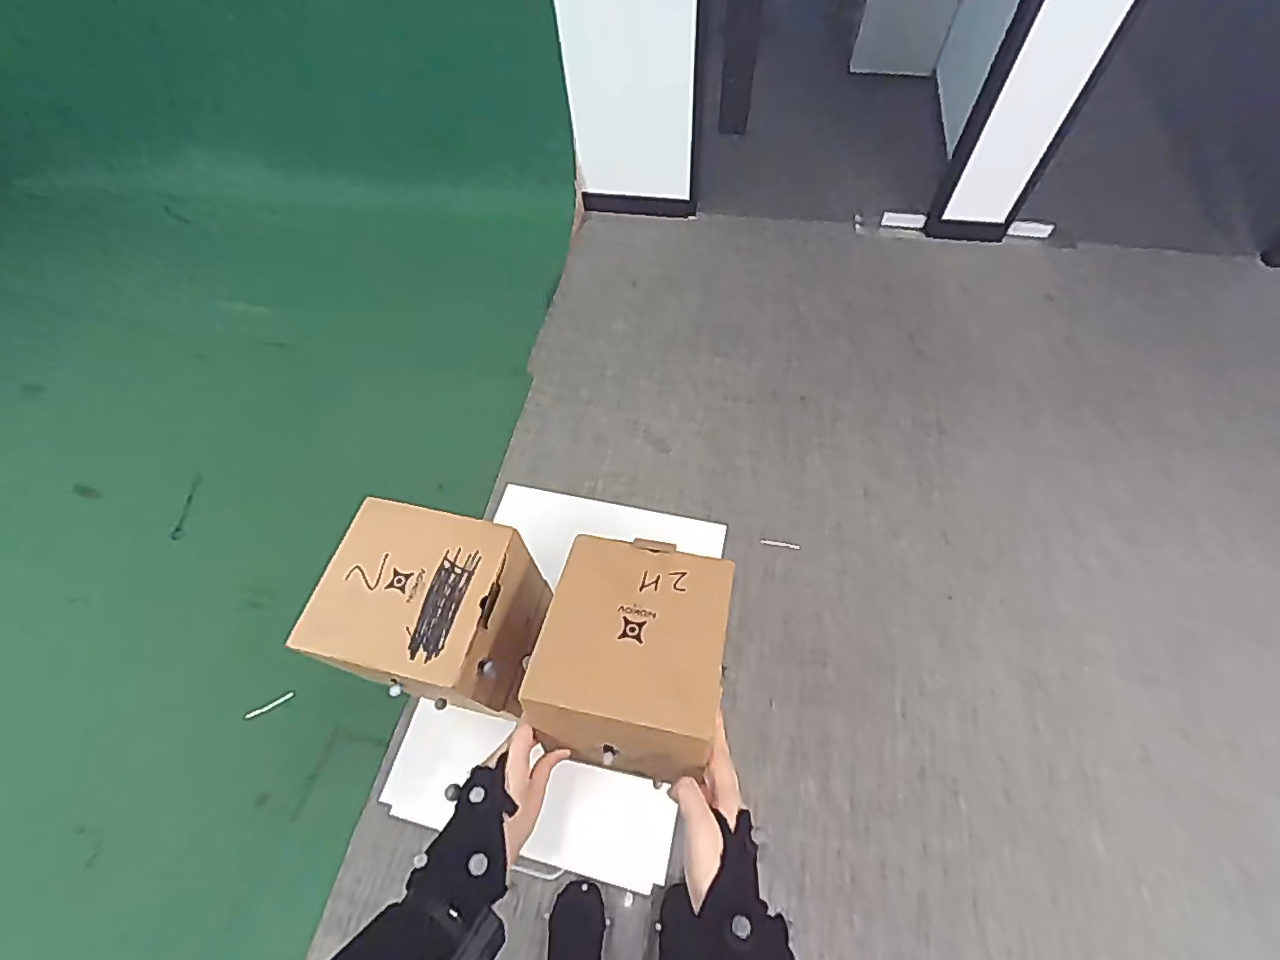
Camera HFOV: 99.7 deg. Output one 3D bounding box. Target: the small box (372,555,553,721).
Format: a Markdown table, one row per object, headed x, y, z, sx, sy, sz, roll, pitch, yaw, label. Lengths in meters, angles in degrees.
| x | y | z | sx | sy | sz | roll | pitch | yaw | label |
| --- | --- | --- | --- | --- | --- | --- | --- | --- | --- |
| -0.222 | 0.224 | 0.749 | 0.179 | 0.176 | 0.168 | 11 | 61 | 7 | small box |

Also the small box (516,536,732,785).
| x | y | z | sx | sy | sz | roll | pitch | yaw | label |
| --- | --- | --- | --- | --- | --- | --- | --- | --- | --- |
| -0.006 | 0.186 | 0.552 | 0.168 | 0.176 | 0.179 | 10 | 49 | 8 | small box |
